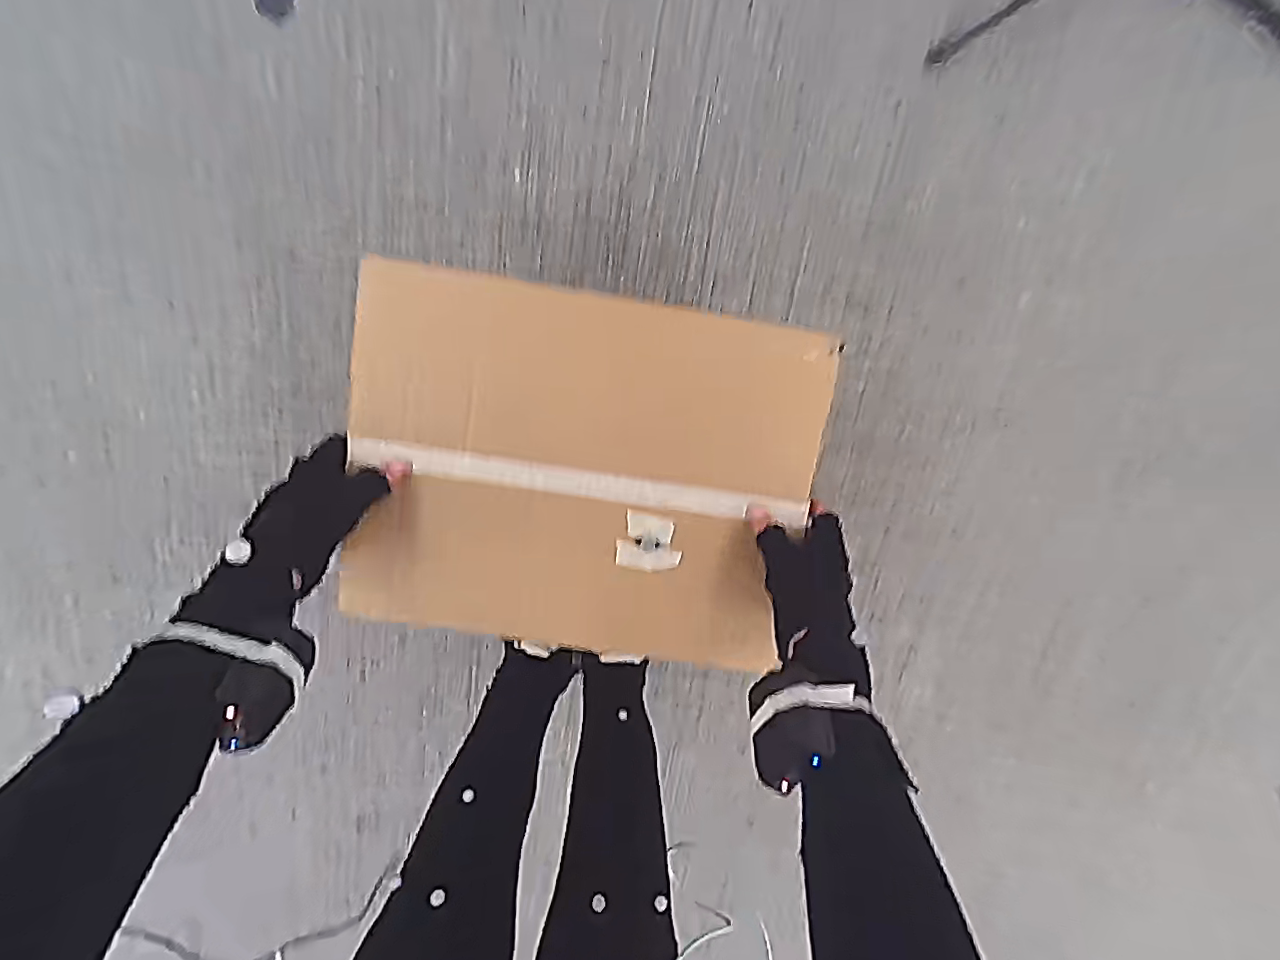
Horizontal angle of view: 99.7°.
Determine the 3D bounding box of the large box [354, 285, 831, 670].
[{"bbox_3d":[-0.053,-0.013,0.631,0.408,0.320,0.320,8,99,-3],"label":"large box"}]
